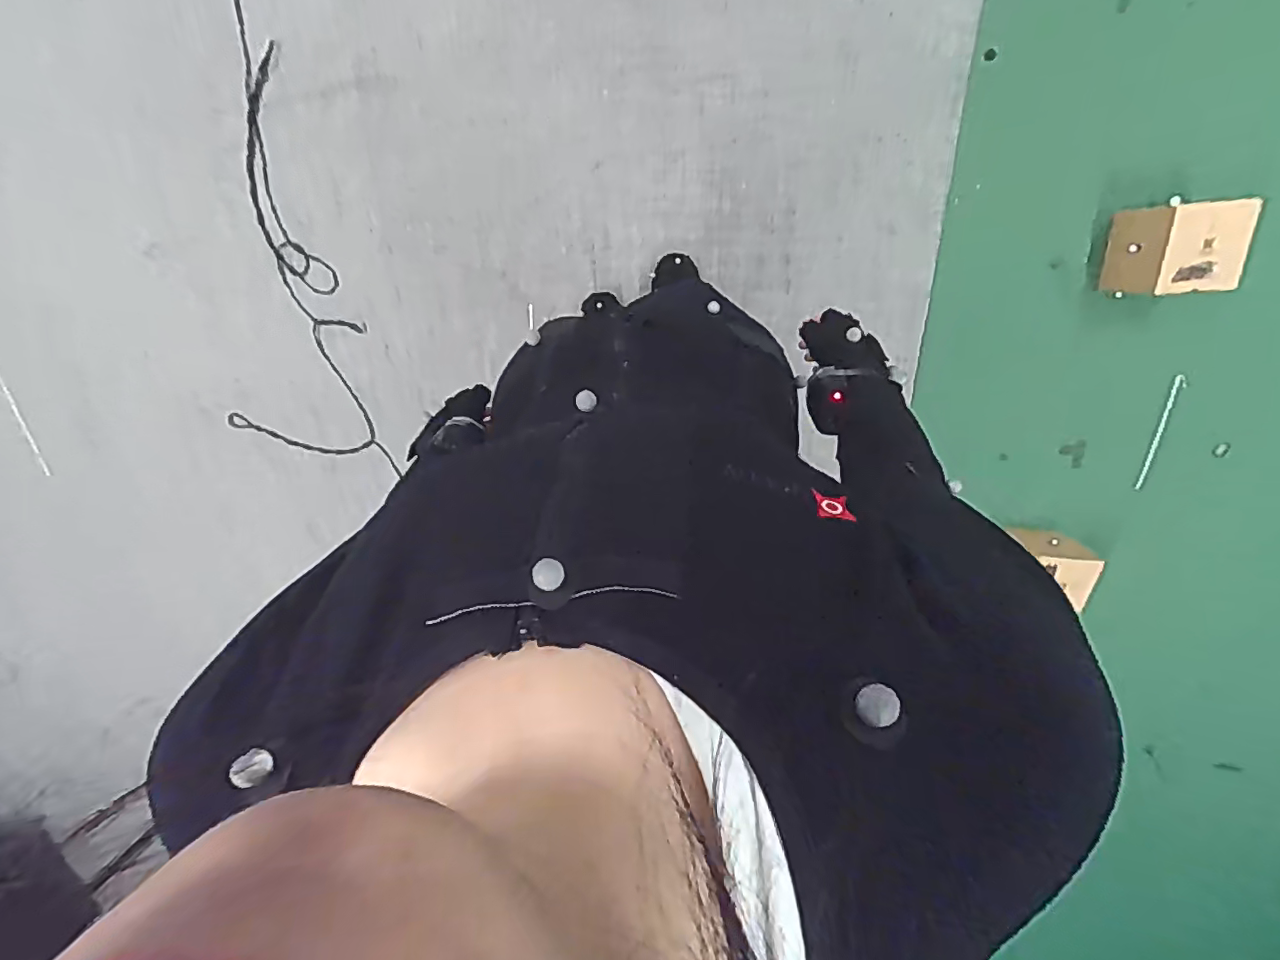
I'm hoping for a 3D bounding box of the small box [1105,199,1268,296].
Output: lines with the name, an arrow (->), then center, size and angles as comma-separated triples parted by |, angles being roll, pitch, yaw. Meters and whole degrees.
small box -> 1.173, -0.505, 1.181 | 0.168, 0.176, 0.179 | -3, 112, 4
